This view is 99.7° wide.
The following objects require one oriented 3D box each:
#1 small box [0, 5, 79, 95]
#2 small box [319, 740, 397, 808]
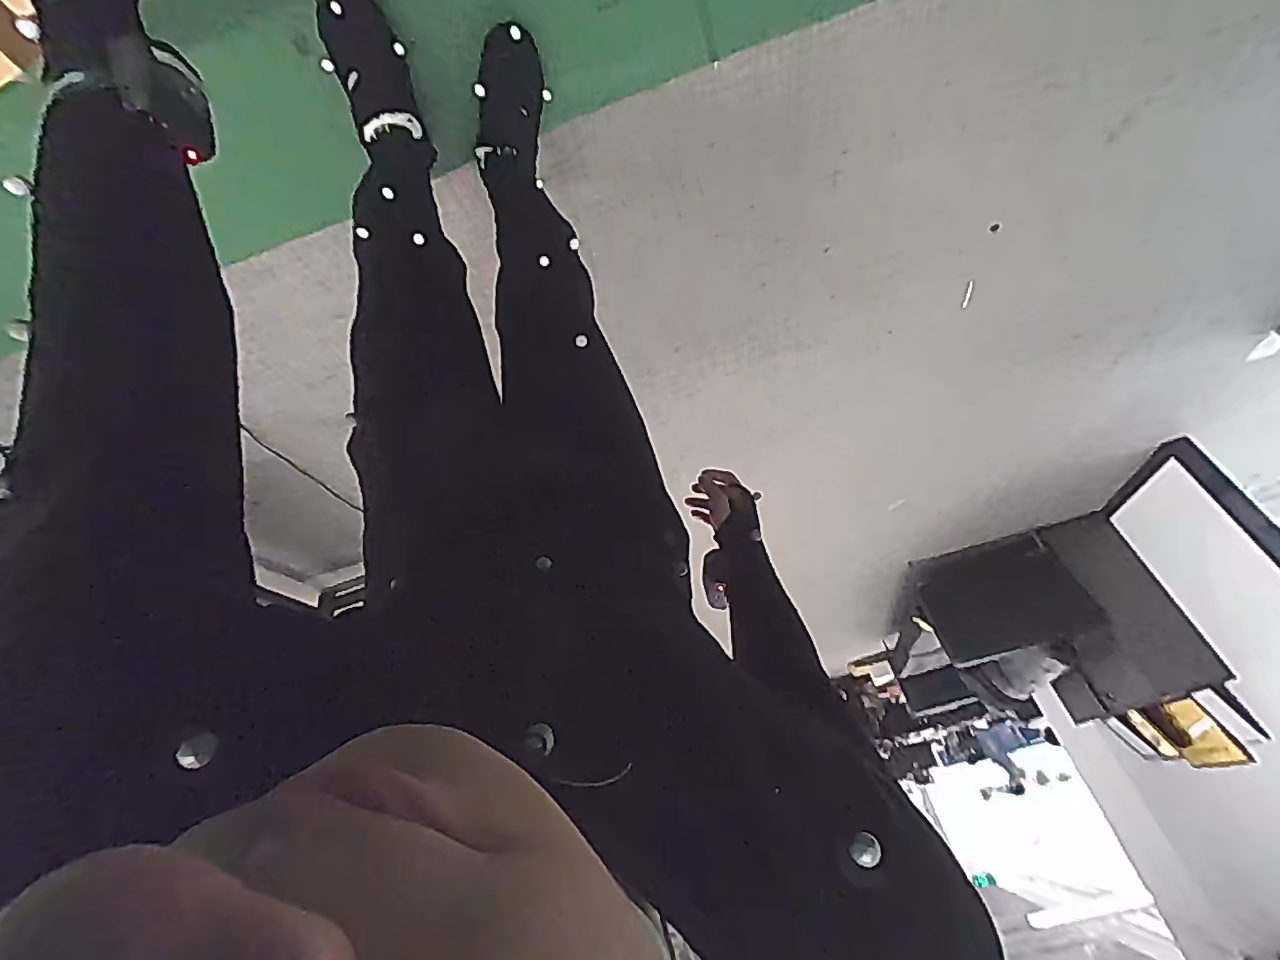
[{"bbox_3d":[-0.826,-0.555,0.619,0.168,0.176,0.179,-19,147,9],"label":"small box"},{"bbox_3d":[-0.957,1.008,1.853,0.179,0.176,0.168,-21,146,11],"label":"small box"}]
